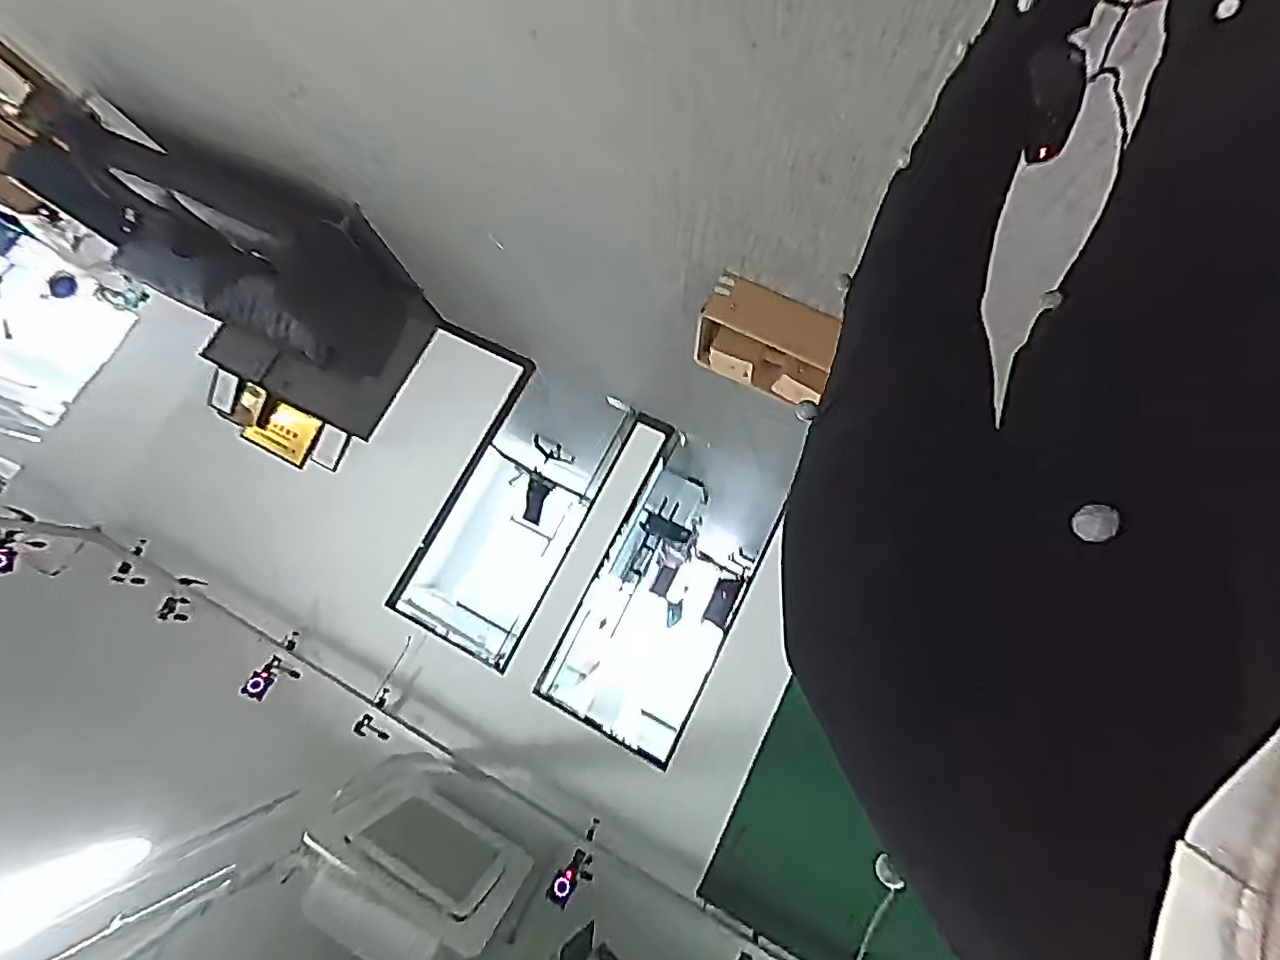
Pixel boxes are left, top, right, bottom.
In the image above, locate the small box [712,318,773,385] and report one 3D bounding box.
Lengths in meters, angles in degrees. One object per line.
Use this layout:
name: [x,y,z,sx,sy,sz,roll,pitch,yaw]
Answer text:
small box: [0.394,-0.502,2.099,0.179,0.176,0.168,25,169,13]
